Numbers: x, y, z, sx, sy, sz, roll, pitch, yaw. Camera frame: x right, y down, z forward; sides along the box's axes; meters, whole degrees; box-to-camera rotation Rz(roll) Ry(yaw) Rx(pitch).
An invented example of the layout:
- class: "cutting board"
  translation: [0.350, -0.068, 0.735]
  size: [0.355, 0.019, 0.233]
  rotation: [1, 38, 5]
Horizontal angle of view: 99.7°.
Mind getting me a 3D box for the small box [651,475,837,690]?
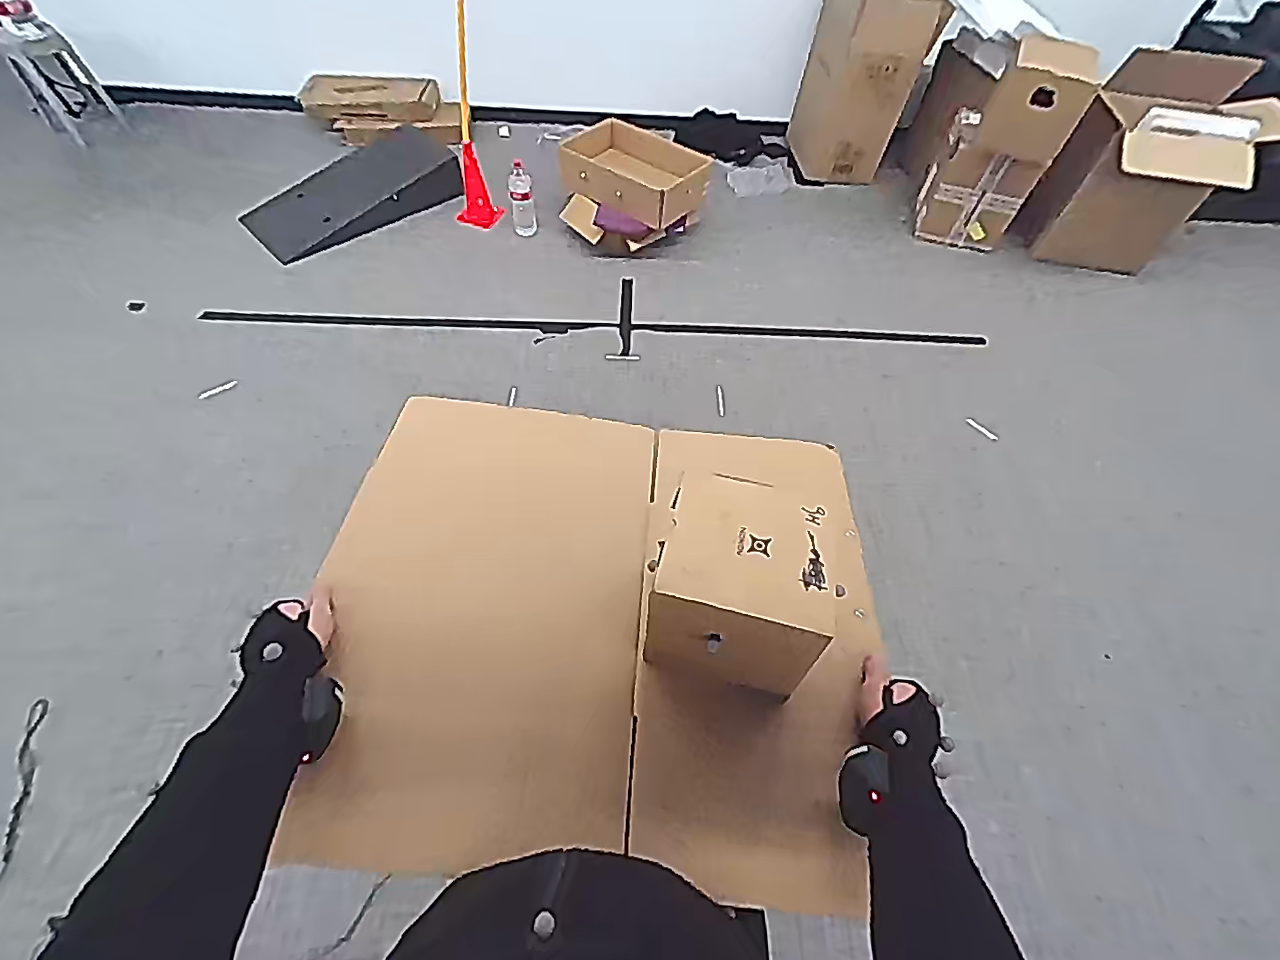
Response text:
- class: "small box"
  translation: [0.114, 0.122, 0.626]
  size: [0.179, 0.176, 0.168]
  rotation: [12, 51, 8]
